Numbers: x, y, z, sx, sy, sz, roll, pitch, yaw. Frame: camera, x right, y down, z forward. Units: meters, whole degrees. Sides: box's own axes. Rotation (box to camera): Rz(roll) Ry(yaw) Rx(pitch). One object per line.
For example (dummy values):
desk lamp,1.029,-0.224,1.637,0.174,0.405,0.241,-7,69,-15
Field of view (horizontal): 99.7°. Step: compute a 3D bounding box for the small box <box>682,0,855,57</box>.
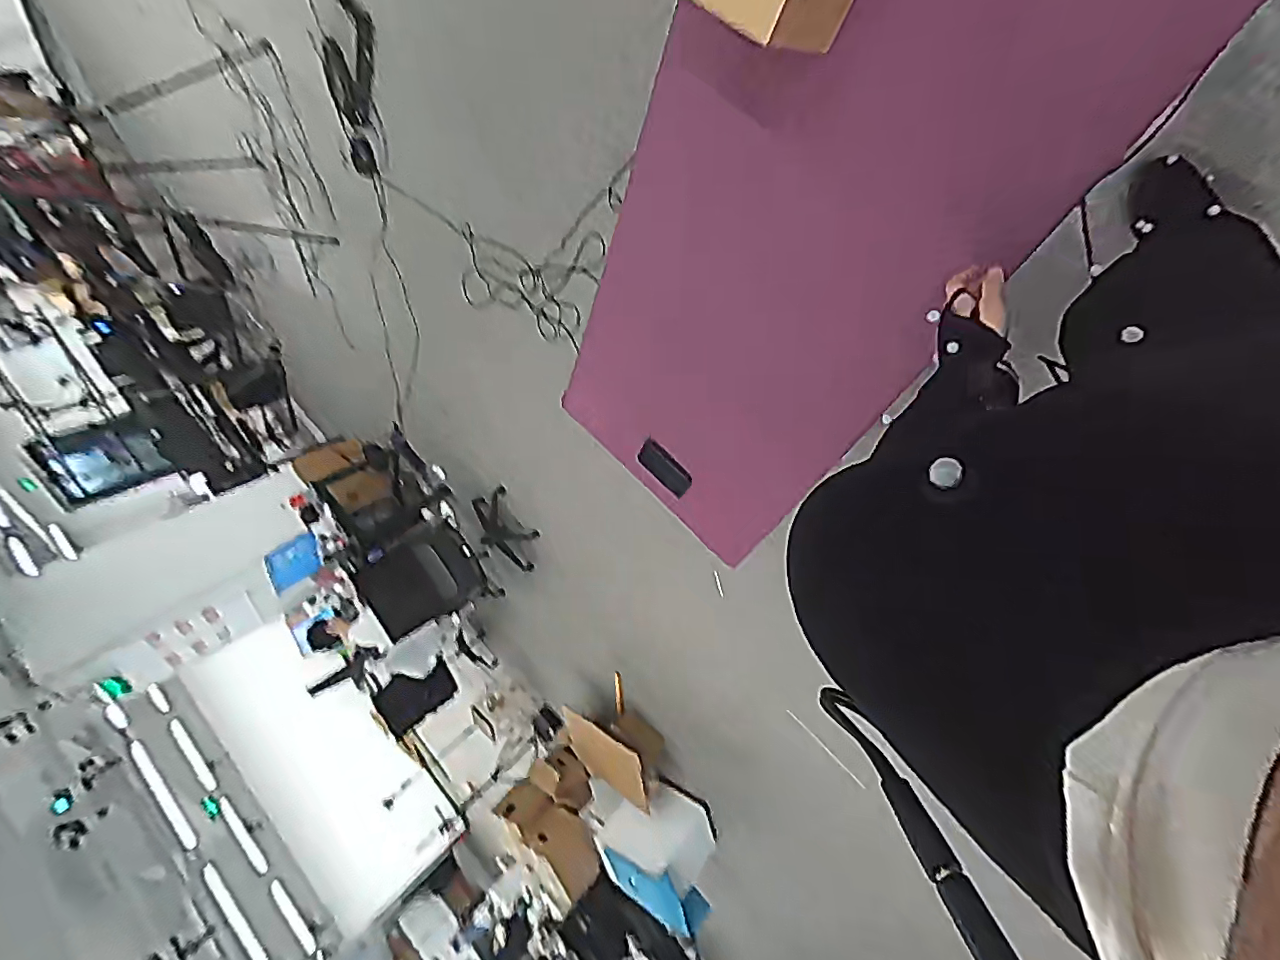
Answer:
small box,0.165,-0.641,0.649,0.179,0.176,0.168,45,140,14
